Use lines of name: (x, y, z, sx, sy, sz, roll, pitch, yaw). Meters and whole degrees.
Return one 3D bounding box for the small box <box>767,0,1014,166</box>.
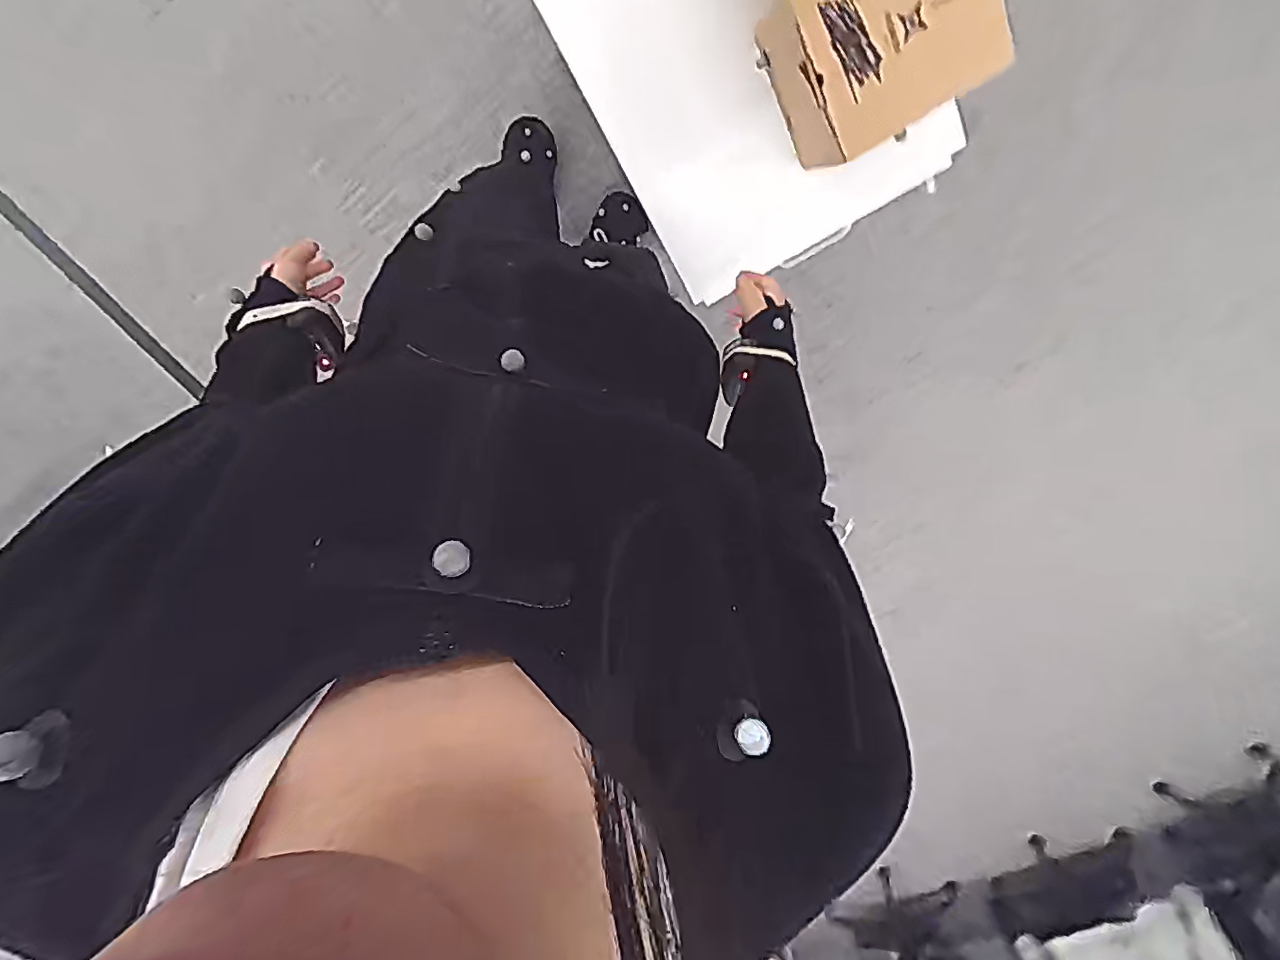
small box: (0.250, -0.465, 0.582, 0.179, 0.176, 0.168, -26, 115, 13)
